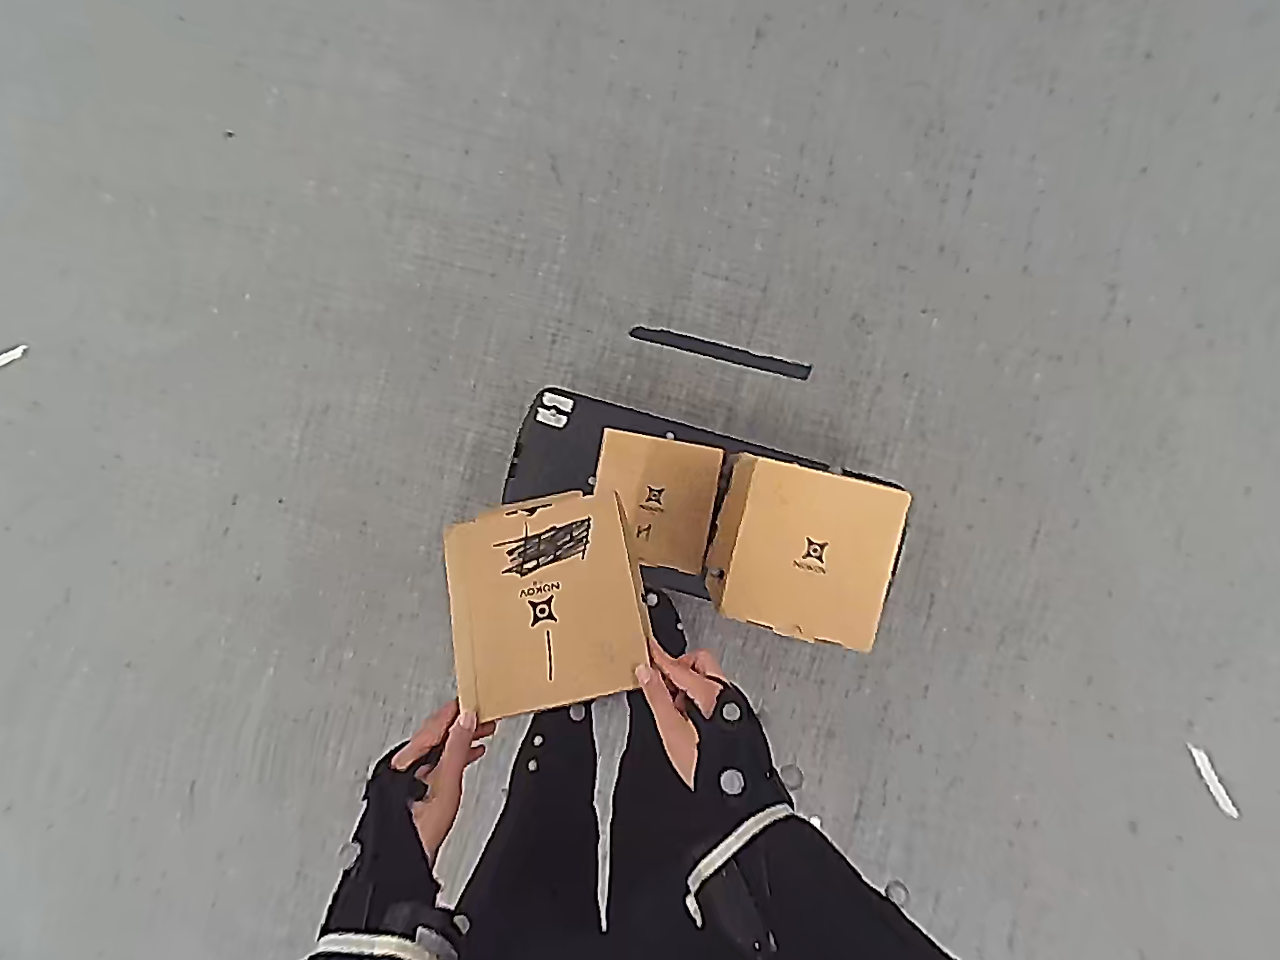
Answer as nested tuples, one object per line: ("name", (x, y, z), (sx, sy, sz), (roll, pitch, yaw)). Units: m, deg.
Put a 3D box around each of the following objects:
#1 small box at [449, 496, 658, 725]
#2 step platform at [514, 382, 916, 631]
("small box", (-0.079, 0.137, 0.550), (0.168, 0.176, 0.179), (-12, 69, 0))
("step platform", (0.124, 0.043, 0.989), (0.684, 0.204, 0.286), (16, 91, 3))
